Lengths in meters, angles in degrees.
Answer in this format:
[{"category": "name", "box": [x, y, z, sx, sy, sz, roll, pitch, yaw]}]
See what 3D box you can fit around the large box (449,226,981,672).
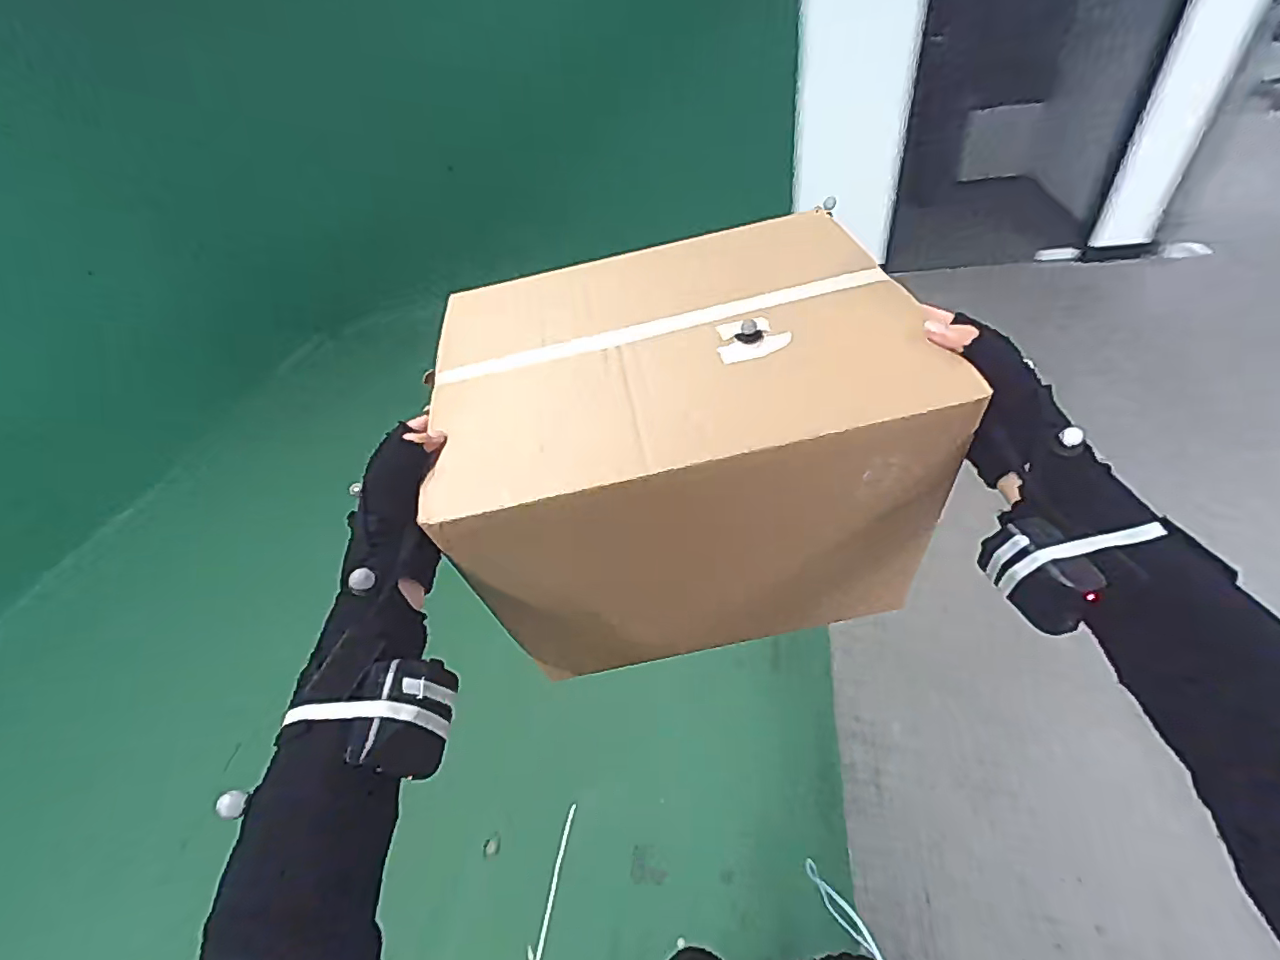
[{"category": "large box", "box": [0.053, -0.026, 0.597, 0.408, 0.320, 0.320, -12, 49, 1]}]
